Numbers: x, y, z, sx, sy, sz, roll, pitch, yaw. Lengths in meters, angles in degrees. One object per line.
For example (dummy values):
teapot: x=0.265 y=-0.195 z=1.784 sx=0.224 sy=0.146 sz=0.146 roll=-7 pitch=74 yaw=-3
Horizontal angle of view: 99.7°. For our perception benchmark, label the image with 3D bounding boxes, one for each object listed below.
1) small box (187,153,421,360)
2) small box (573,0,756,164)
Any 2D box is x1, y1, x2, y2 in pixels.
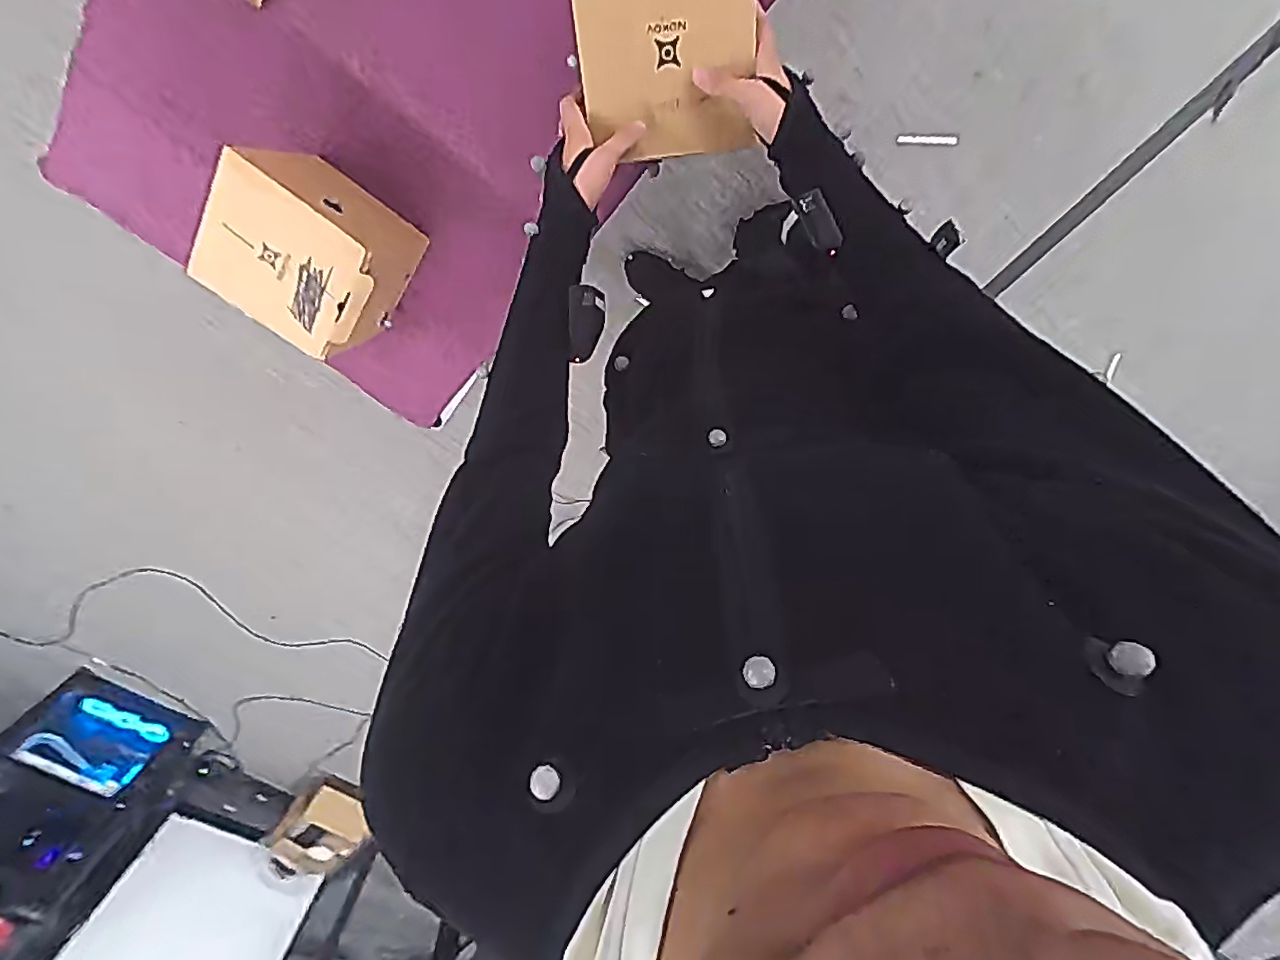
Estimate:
small box: x=-0.420 y=-0.291 z=0.703 sx=0.179 sy=0.176 sz=0.168 roll=35 pitch=115 yaw=-13
small box: x=0.022 y=-0.437 z=0.563 sx=0.168 sy=0.176 sz=0.179 roll=-5 pitch=120 yaw=2
